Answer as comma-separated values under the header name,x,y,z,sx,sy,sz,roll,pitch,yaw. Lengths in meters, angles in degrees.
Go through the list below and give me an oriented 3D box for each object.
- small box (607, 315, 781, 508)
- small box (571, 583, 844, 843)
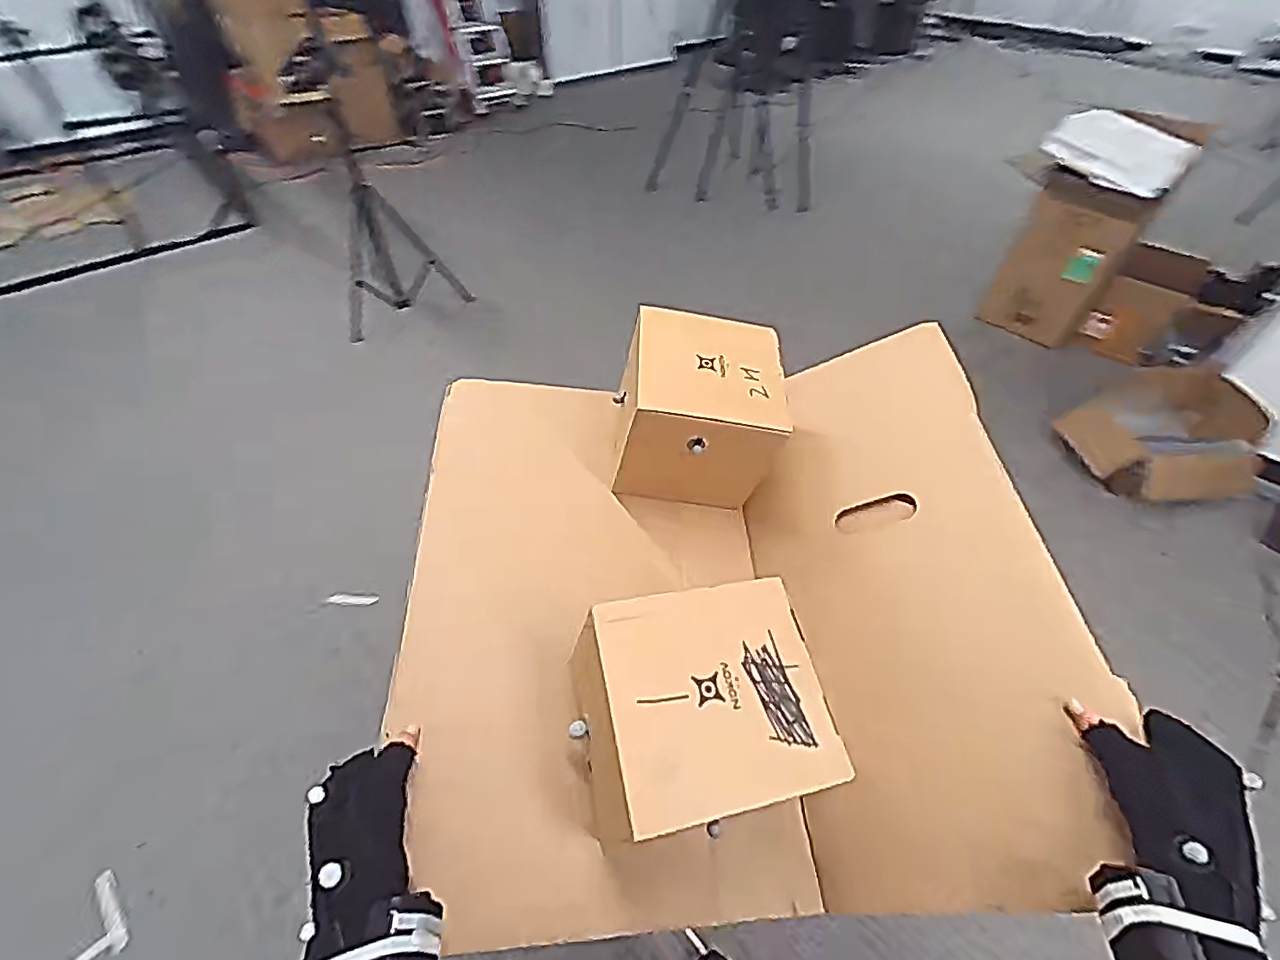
name,x,y,z,sx,sy,sz,roll,pitch,yaw
small box,0.057,-0.079,0.689,0.179,0.176,0.168,8,56,-9
small box,0.042,0.211,0.493,0.179,0.176,0.168,-6,59,-17
